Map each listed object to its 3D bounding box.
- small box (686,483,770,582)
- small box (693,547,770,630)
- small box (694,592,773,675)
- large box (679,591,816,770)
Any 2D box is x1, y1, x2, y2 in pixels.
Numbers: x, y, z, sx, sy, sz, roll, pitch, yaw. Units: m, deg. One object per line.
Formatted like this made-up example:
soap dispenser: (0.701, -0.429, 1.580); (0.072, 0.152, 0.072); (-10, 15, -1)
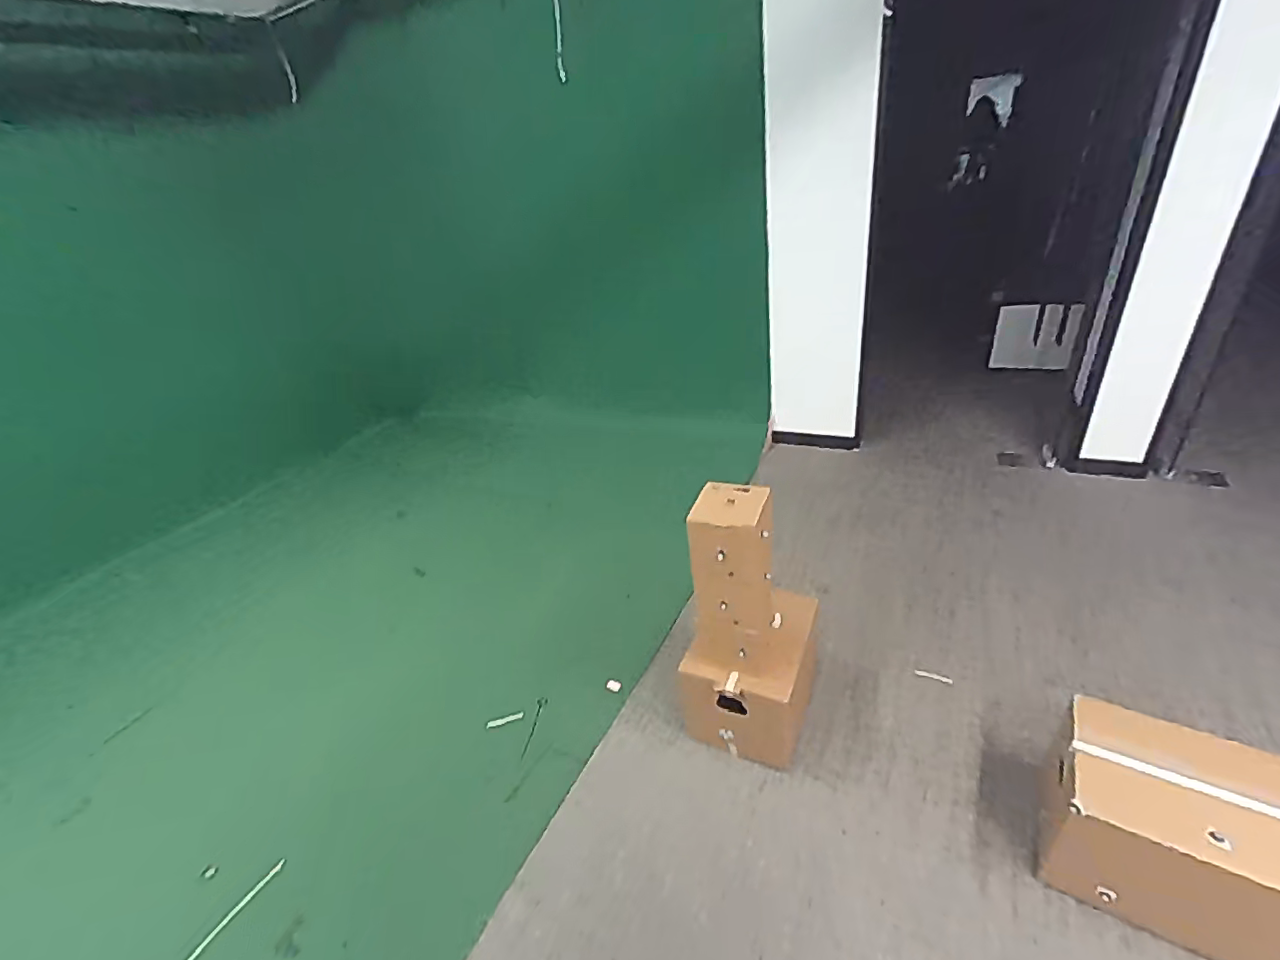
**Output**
small box: (0.226, 0.129, 1.338); (0.168, 0.176, 0.179); (6, 34, 24)
small box: (0.248, 0.269, 1.423); (0.168, 0.176, 0.179); (5, 32, 22)
small box: (0.267, 0.412, 1.500); (0.179, 0.176, 0.168); (6, 33, 26)
large box: (0.347, 0.586, 1.667); (0.320, 0.320, 0.408); (8, 34, 27)
